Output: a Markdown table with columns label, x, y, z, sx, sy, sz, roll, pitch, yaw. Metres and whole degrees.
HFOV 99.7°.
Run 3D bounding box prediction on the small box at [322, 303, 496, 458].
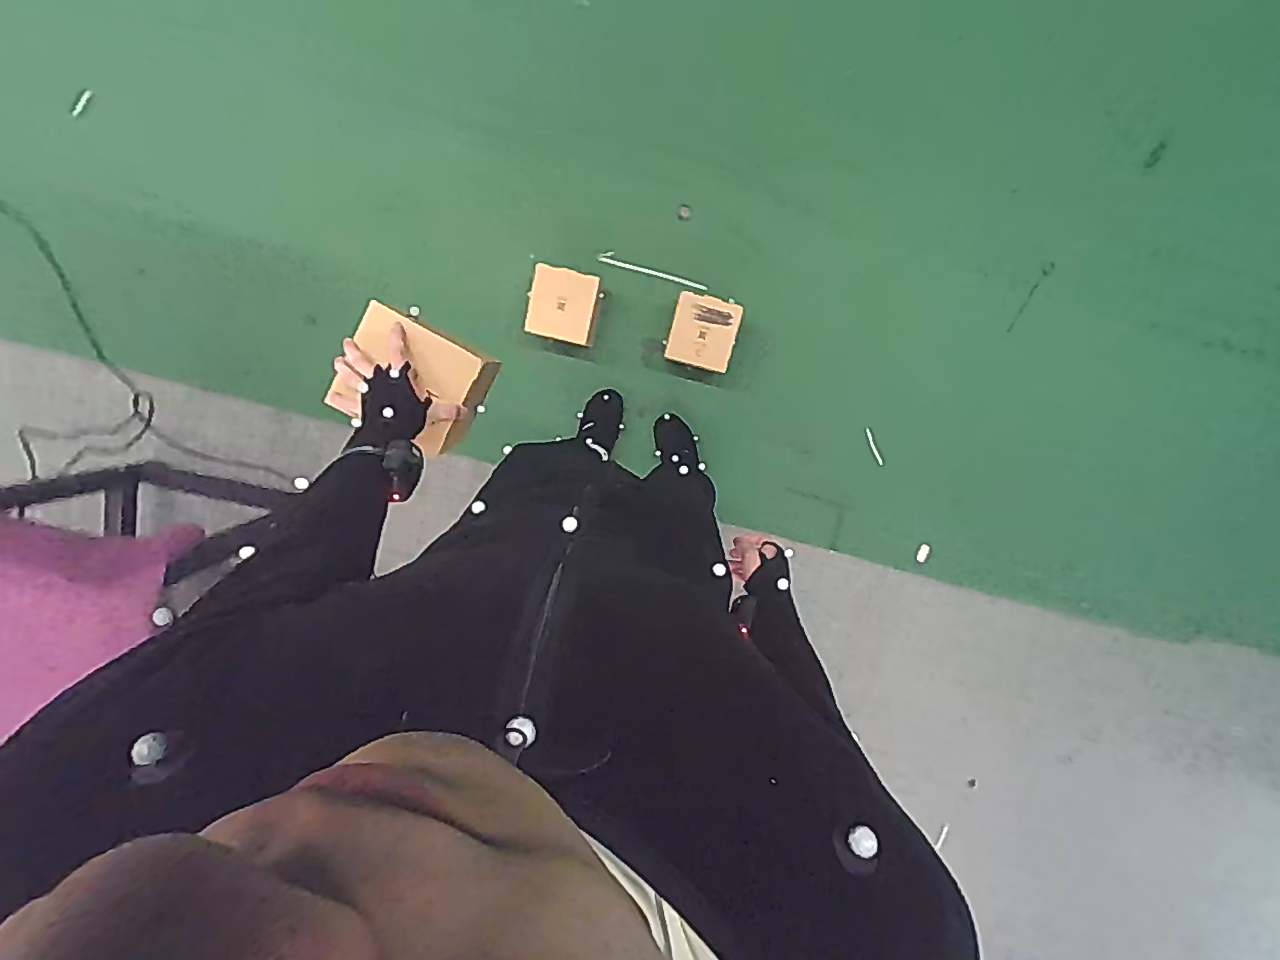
| label | x | y | z | sx | sy | sz | roll | pitch | yaw |
| --- | --- | --- | --- | --- | --- | --- | --- | --- | --- |
| small box | -0.352 | -0.155 | 0.858 | 0.179 | 0.176 | 0.168 | 27 | 99 | -10 |

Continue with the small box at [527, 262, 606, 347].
| label | x | y | z | sx | sy | sz | roll | pitch | yaw |
| --- | --- | --- | --- | --- | --- | --- | --- | --- | --- |
| small box | -0.193 | -0.465 | 1.462 | 0.168 | 0.176 | 0.179 | 14 | 101 | -1 |
